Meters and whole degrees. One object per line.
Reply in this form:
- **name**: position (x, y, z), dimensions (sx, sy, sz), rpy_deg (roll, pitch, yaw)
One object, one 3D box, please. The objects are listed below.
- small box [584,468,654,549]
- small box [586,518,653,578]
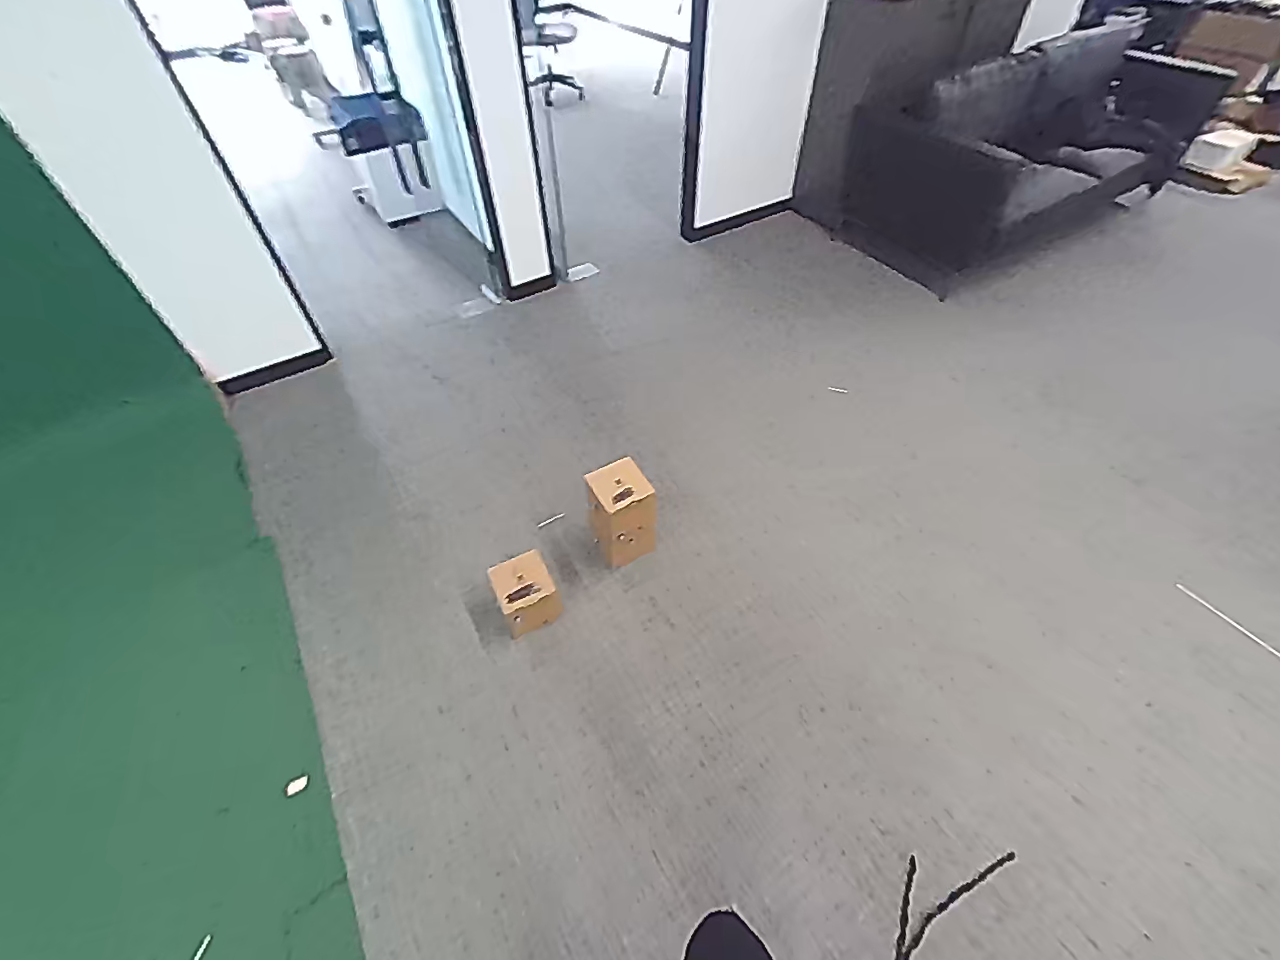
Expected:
- **small box**: position (-0.063, 0.098, 1.734), dimensions (0.168, 0.176, 0.179), rpy_deg (-24, 52, -19)
- **small box**: position (-0.066, 0.206, 1.859), dimensions (0.179, 0.176, 0.168), rpy_deg (-24, 53, -20)
